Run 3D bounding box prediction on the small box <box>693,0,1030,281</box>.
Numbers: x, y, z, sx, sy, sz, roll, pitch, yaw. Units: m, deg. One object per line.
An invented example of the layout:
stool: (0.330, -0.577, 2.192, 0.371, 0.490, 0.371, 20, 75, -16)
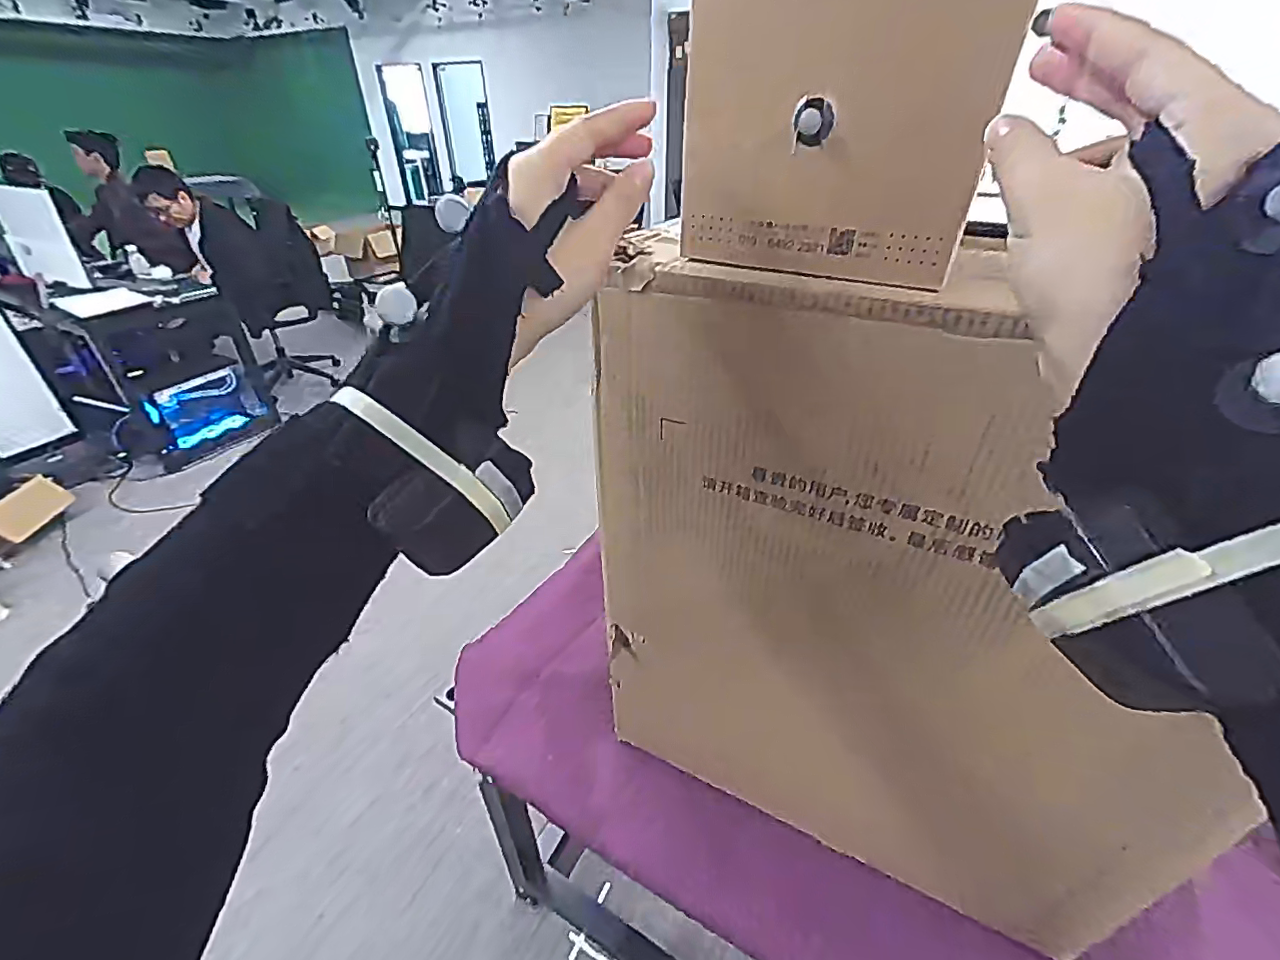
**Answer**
small box: (0.140, -0.241, 0.355, 0.168, 0.176, 0.179, 17, 38, 21)
